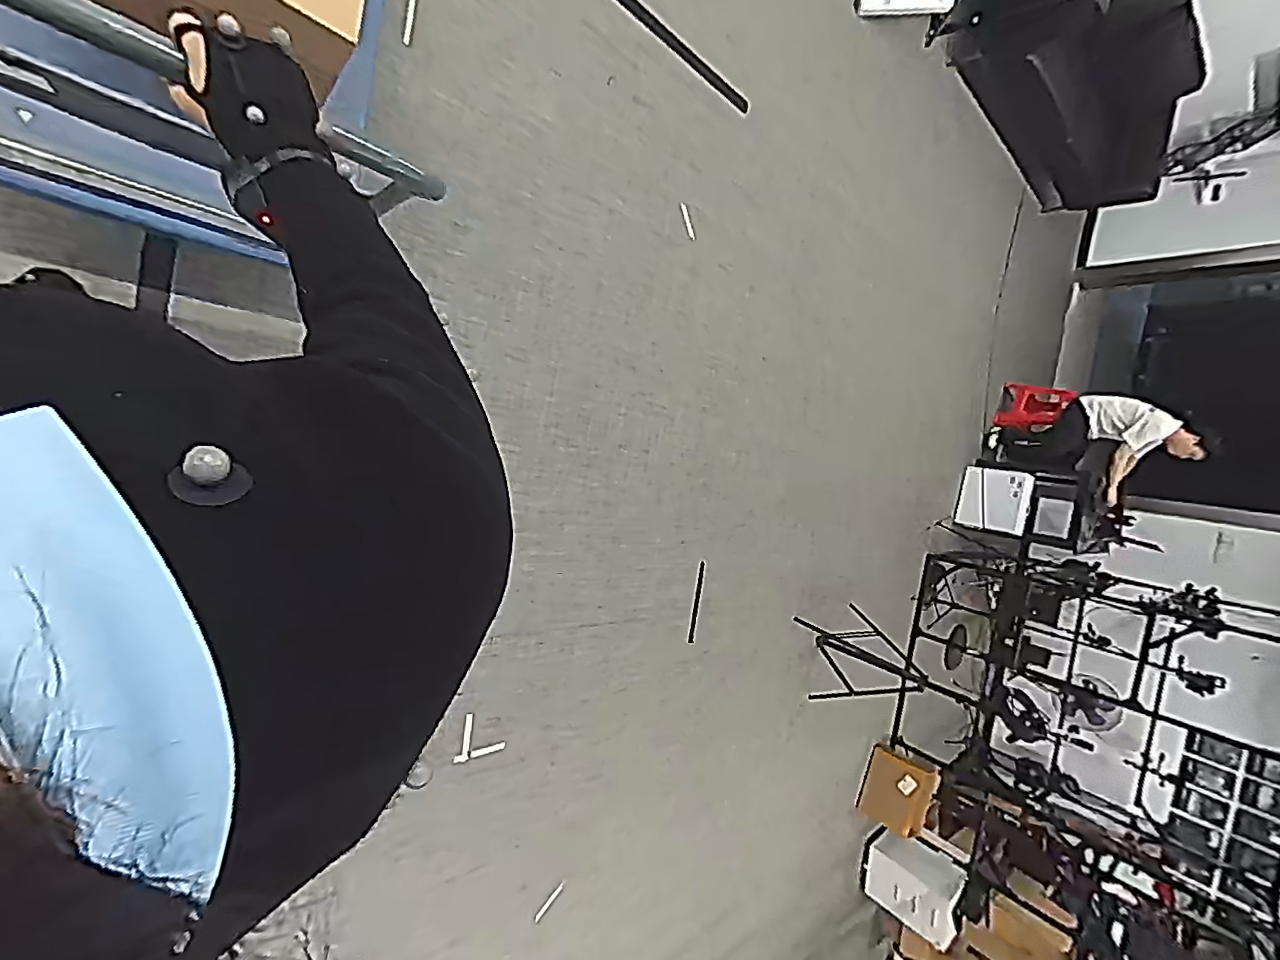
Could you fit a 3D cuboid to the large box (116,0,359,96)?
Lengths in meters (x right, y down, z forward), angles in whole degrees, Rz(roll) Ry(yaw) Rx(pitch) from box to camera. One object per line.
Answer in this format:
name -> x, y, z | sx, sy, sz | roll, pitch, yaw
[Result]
large box -> -0.657, -0.887, 0.809 | 0.408, 0.320, 0.320 | 9, 92, -41
